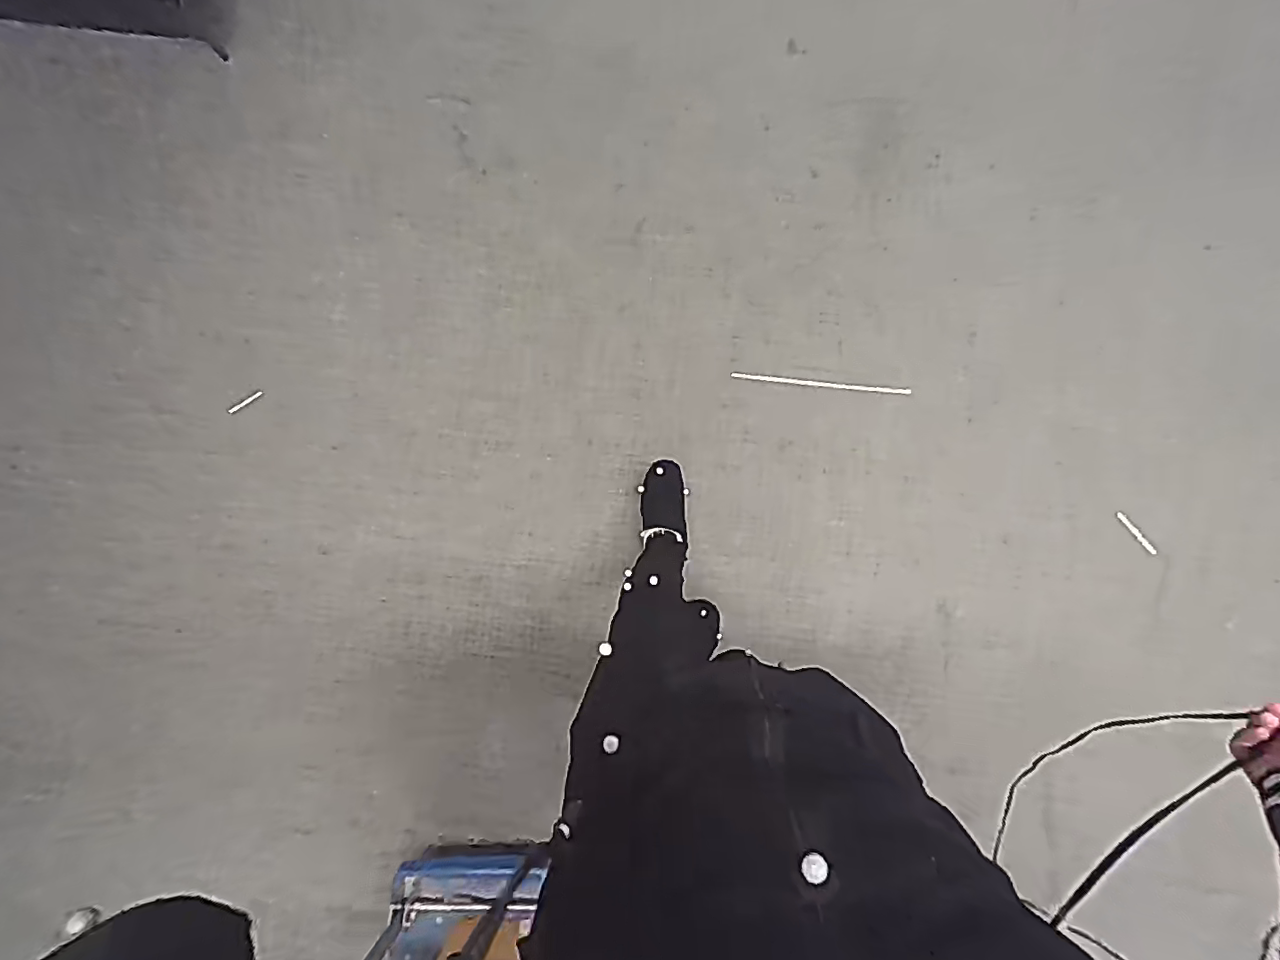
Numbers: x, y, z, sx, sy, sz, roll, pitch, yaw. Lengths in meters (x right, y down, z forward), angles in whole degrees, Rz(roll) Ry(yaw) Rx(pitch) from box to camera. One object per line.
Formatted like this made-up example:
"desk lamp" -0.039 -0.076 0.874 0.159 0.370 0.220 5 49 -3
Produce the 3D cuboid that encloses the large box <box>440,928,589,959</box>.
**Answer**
"large box" -0.266 1.173 1.029 0.320 0.320 0.408 2 85 1
